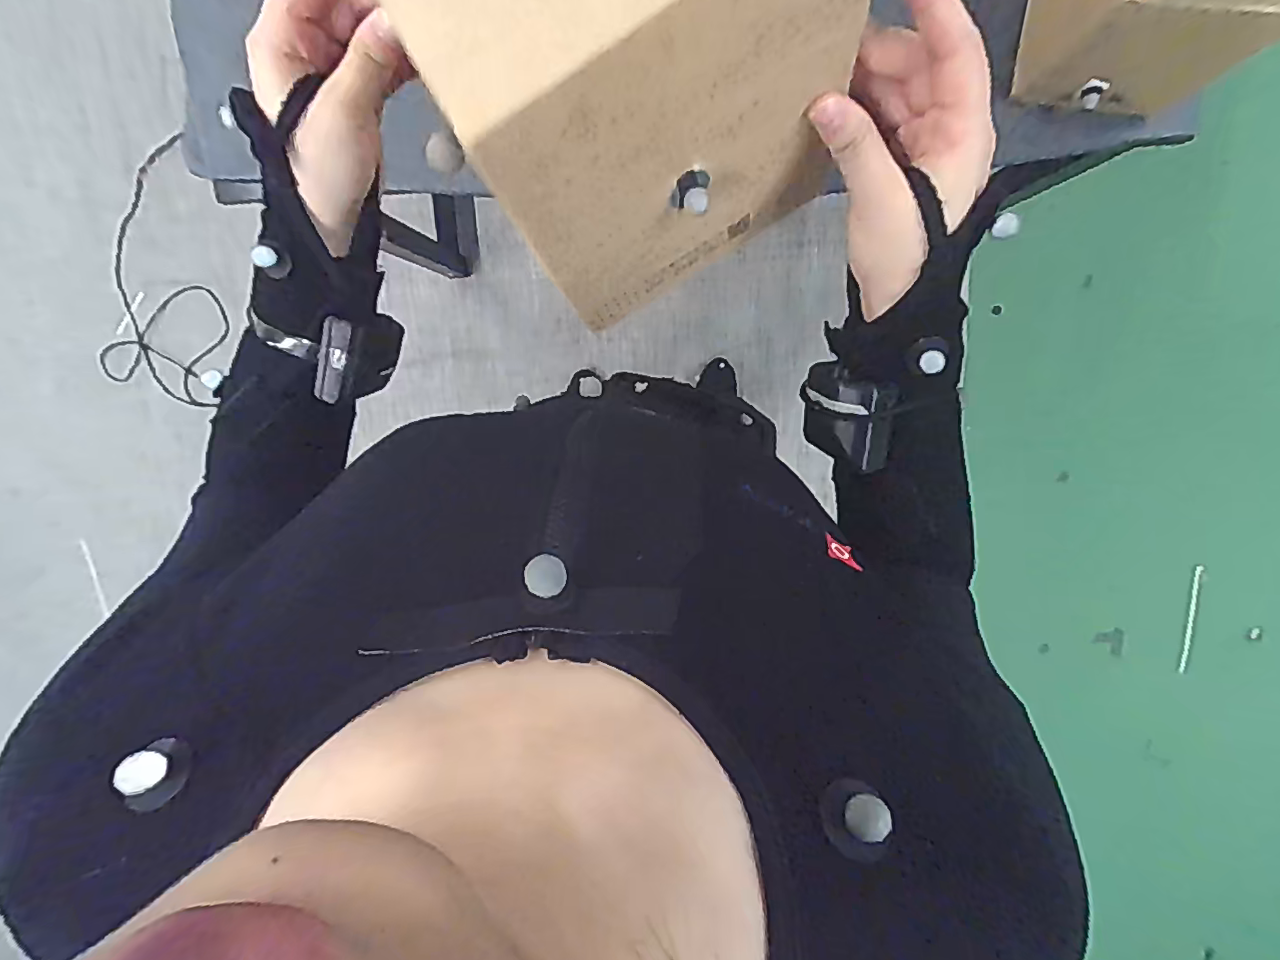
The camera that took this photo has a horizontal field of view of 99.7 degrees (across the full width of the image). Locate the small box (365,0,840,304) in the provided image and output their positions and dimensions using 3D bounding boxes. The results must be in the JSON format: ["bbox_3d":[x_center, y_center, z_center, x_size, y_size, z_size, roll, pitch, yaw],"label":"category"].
[{"bbox_3d":[-0.016,-0.213,0.268,0.168,0.176,0.179,-30,80,7],"label":"small box"}]

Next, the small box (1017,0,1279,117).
[{"bbox_3d":[0.513,-0.500,0.531,0.168,0.176,0.179,7,99,3],"label":"small box"}]
